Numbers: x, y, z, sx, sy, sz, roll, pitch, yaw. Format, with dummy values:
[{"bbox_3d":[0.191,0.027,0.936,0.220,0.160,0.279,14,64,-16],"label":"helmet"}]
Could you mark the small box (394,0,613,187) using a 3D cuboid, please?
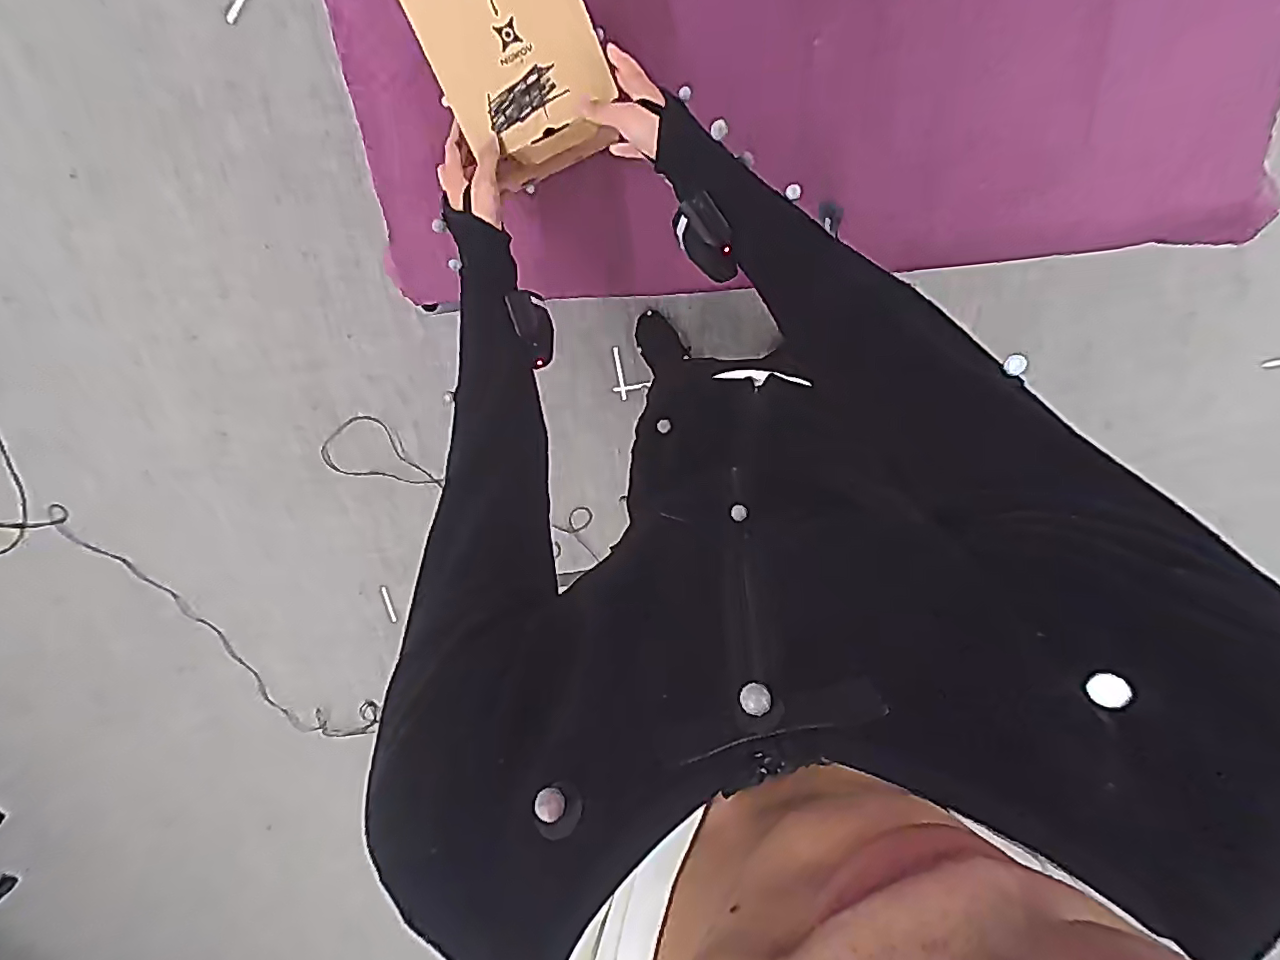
[{"bbox_3d":[-0.137,-0.459,0.617,0.168,0.176,0.179,-24,109,5],"label":"small box"}]
